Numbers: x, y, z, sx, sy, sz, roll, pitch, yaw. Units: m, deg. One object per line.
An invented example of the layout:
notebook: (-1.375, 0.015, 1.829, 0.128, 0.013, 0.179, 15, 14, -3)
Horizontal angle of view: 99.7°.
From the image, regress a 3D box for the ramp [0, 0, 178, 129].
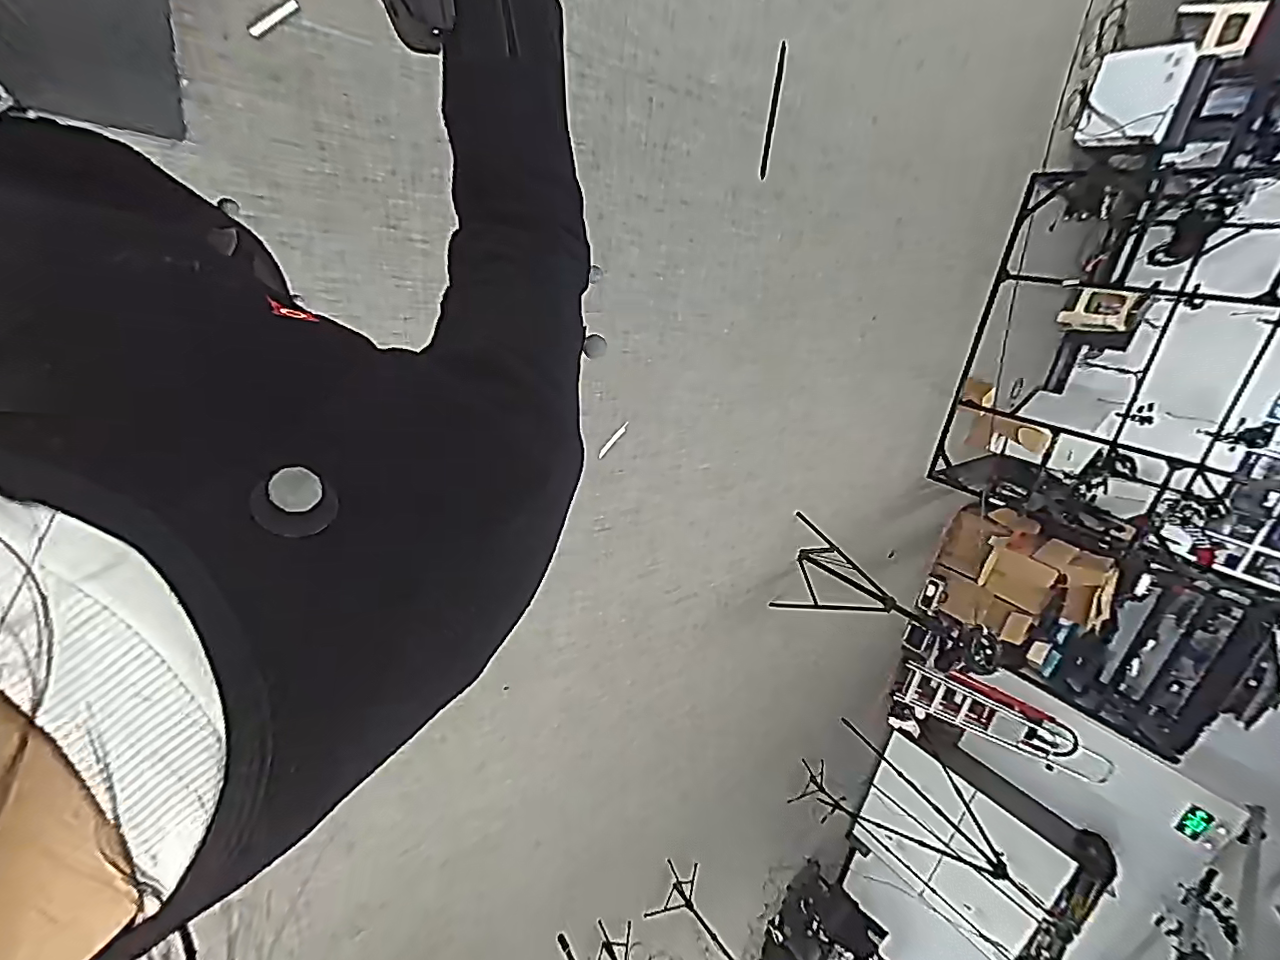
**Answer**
ramp: (-0.900, -1.028, 0.607, 0.509, 0.206, 0.991, -11, 120, -39)
